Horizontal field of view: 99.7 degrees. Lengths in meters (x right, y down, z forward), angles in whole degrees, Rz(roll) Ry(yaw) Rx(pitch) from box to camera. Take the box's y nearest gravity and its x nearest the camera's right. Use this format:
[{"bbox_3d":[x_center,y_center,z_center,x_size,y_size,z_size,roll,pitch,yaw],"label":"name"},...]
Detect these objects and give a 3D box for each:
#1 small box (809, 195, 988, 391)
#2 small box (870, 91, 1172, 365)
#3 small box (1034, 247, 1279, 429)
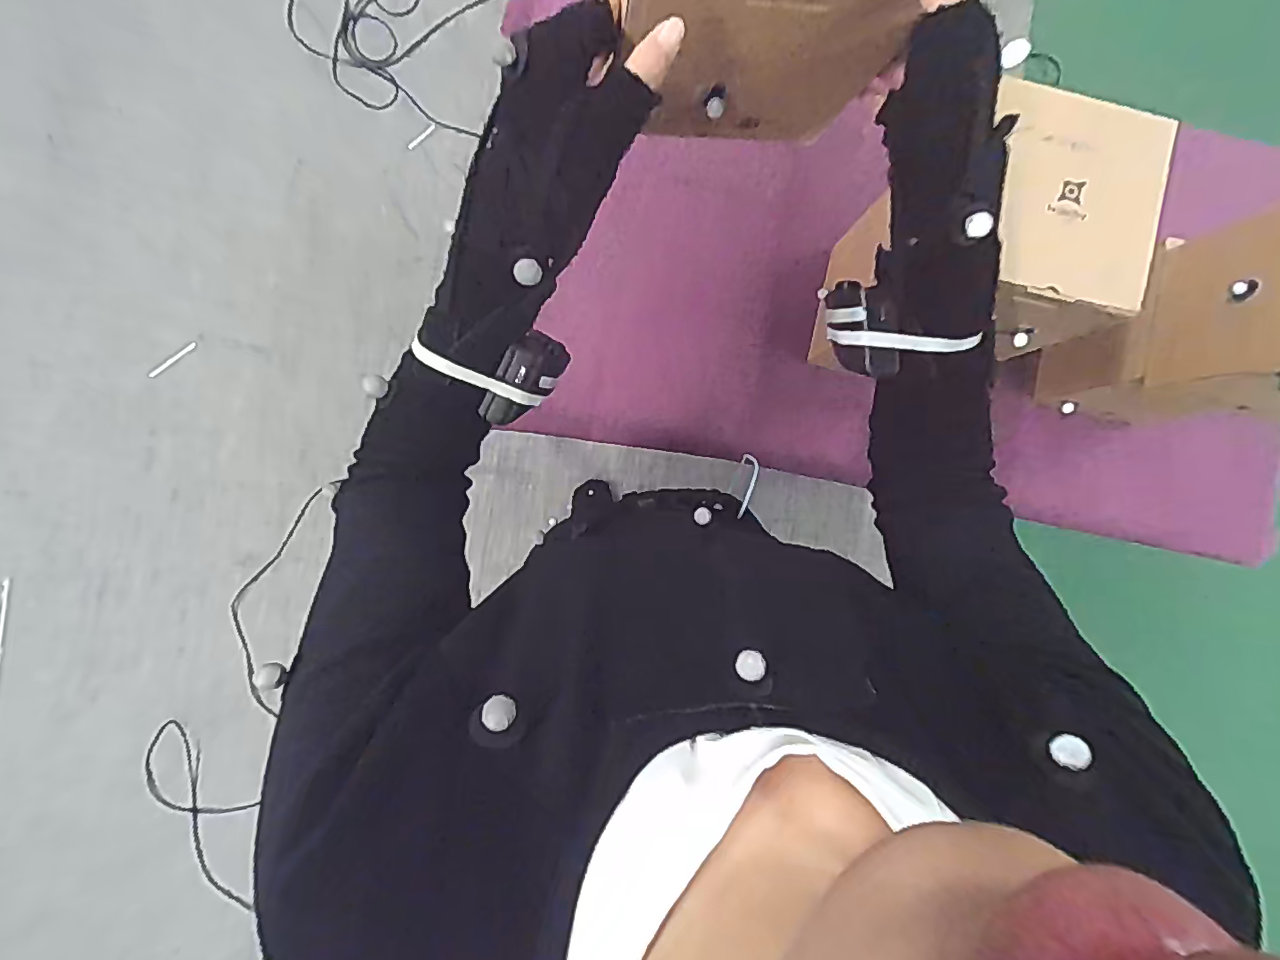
[{"bbox_3d":[0.338,-0.225,0.703,0.168,0.176,0.179,13,89,-4],"label":"small box"},{"bbox_3d":[0.356,-0.228,0.540,0.168,0.176,0.179,13,88,-4],"label":"small box"},{"bbox_3d":[0.676,-0.173,0.722,0.168,0.176,0.179,14,89,-5],"label":"small box"}]
